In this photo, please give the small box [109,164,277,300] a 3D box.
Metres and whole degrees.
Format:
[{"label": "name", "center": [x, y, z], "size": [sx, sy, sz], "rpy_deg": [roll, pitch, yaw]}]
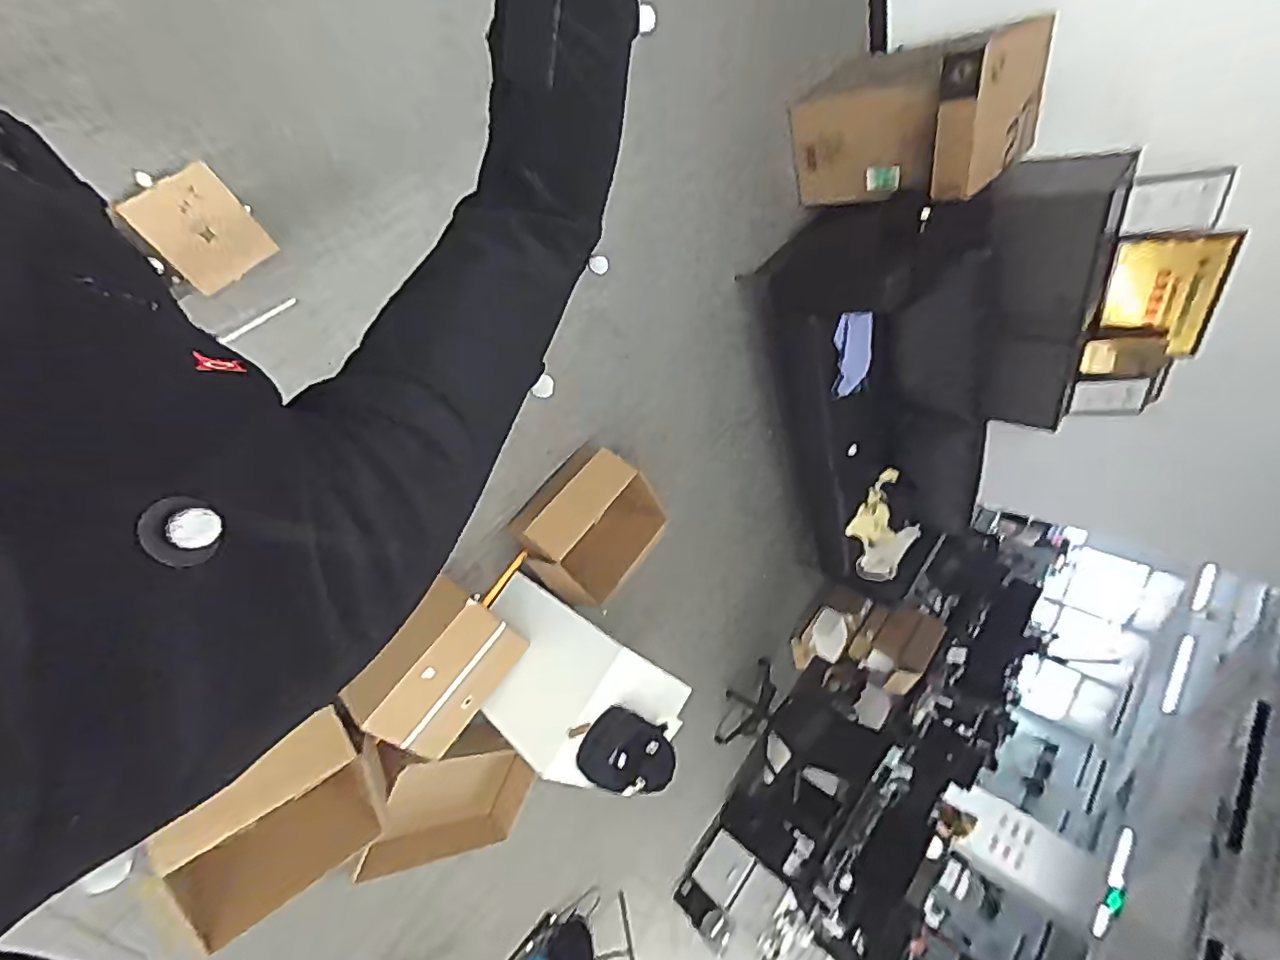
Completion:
[{"label": "small box", "center": [-0.848, -0.471, 1.029], "size": [0.168, 0.176, 0.179], "rpy_deg": [-49, 137, -21]}]
